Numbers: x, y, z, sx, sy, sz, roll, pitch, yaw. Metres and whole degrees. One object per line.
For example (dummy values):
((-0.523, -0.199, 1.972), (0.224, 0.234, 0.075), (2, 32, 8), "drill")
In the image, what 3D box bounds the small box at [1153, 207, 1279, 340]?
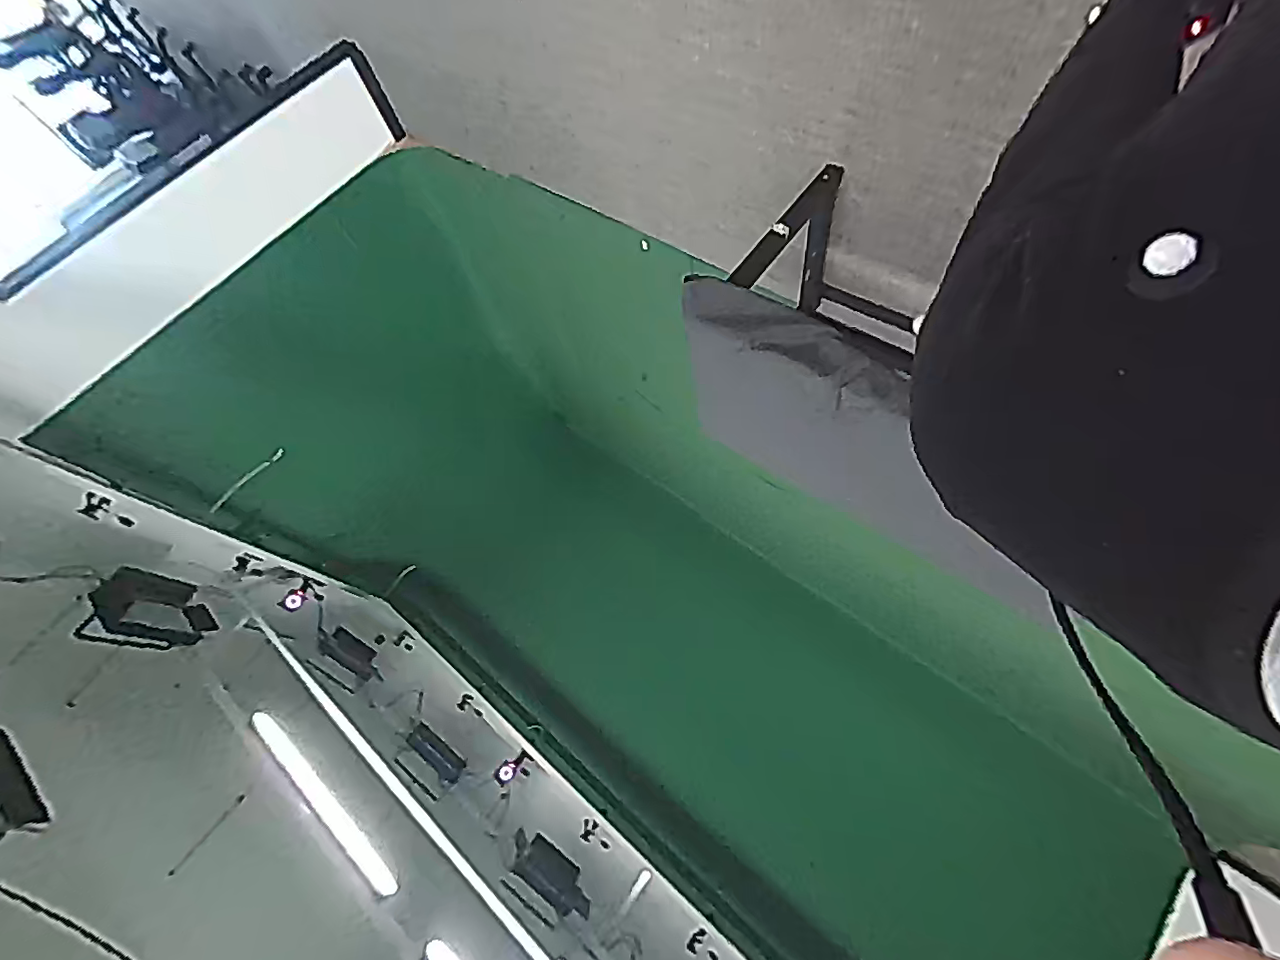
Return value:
((1.284, -0.446, 1.166), (0.168, 0.176, 0.179), (34, 164, 18), "small box")
